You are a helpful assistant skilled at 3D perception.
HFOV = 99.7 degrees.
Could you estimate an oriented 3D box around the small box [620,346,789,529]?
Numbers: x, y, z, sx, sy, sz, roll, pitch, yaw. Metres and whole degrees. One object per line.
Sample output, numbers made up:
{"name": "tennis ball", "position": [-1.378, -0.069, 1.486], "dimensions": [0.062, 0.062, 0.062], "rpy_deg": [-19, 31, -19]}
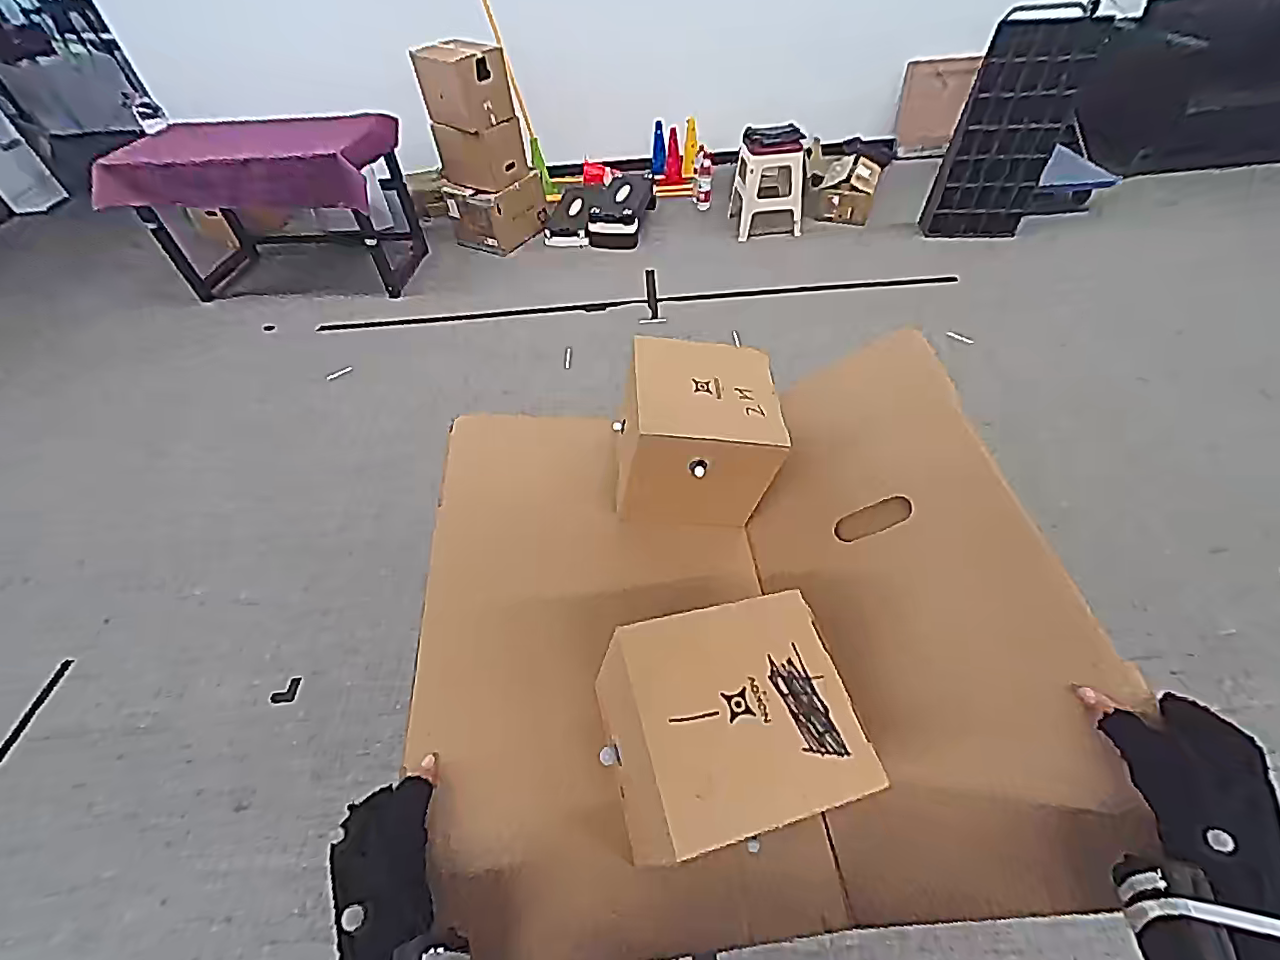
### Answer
{"name": "small box", "position": [0.069, -0.049, 0.707], "dimensions": [0.179, 0.176, 0.168], "rpy_deg": [5, 53, -9]}

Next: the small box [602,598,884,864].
{"name": "small box", "position": [0.073, 0.230, 0.496], "dimensions": [0.179, 0.176, 0.168], "rpy_deg": [-8, 55, -17]}
